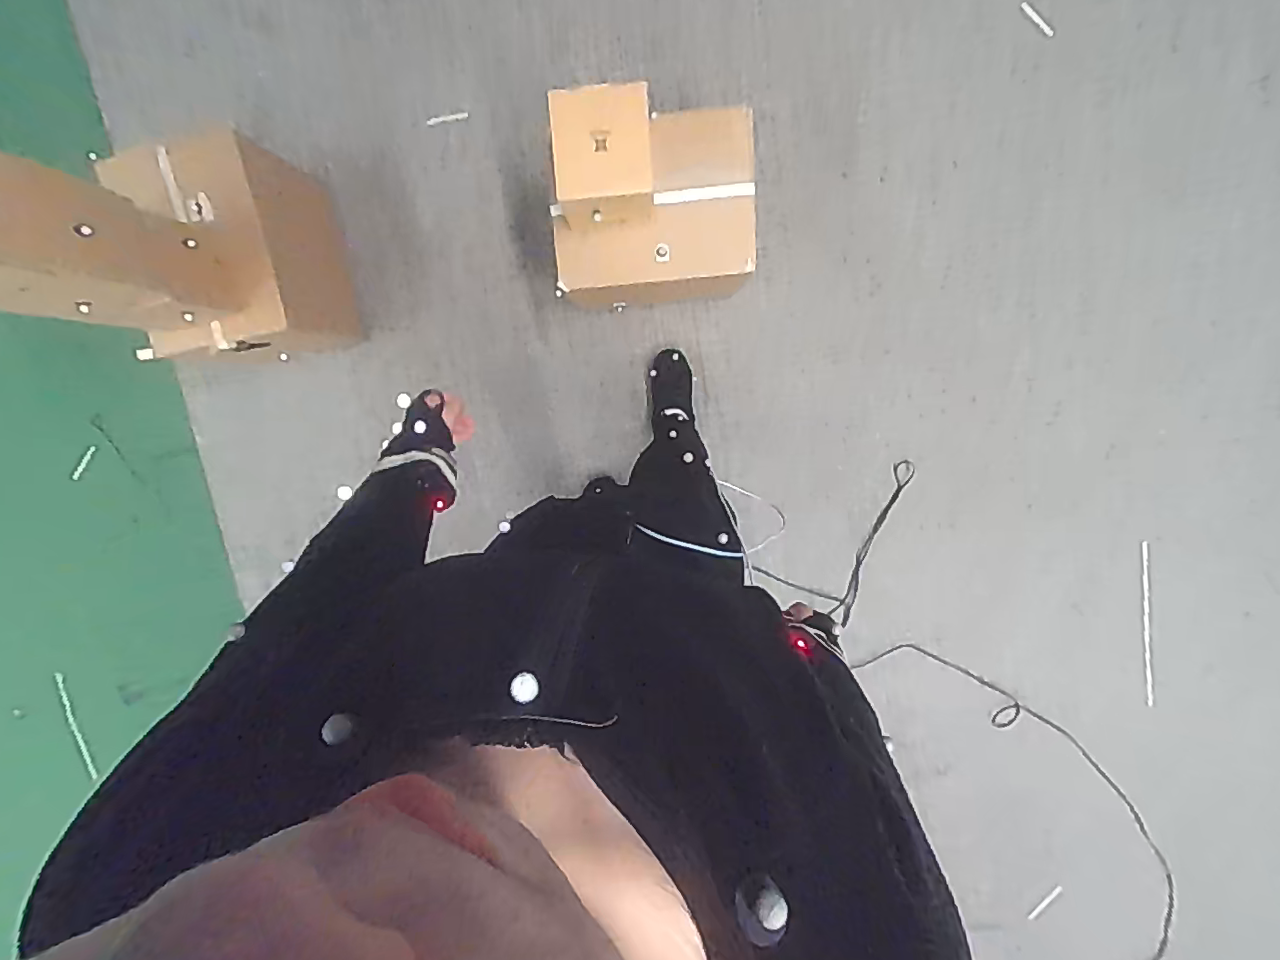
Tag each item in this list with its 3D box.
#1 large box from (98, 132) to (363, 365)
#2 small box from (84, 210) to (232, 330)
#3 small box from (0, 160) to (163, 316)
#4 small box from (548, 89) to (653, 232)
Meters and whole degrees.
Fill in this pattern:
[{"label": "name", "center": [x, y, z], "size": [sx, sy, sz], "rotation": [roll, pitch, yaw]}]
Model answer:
[{"label": "large box", "center": [-0.923, -0.506, 1.274], "size": [0.320, 0.320, 0.408], "rotation": [-10, 98, 4]}, {"label": "small box", "center": [-0.938, -0.396, 1.046], "size": [0.179, 0.176, 0.168], "rotation": [-11, 98, 5]}, {"label": "small box", "center": [-0.945, -0.377, 0.883], "size": [0.168, 0.176, 0.179], "rotation": [-15, 97, 4]}, {"label": "small box", "center": [-0.064, -0.565, 0.983], "size": [0.168, 0.176, 0.179], "rotation": [-3, 97, 3]}]
